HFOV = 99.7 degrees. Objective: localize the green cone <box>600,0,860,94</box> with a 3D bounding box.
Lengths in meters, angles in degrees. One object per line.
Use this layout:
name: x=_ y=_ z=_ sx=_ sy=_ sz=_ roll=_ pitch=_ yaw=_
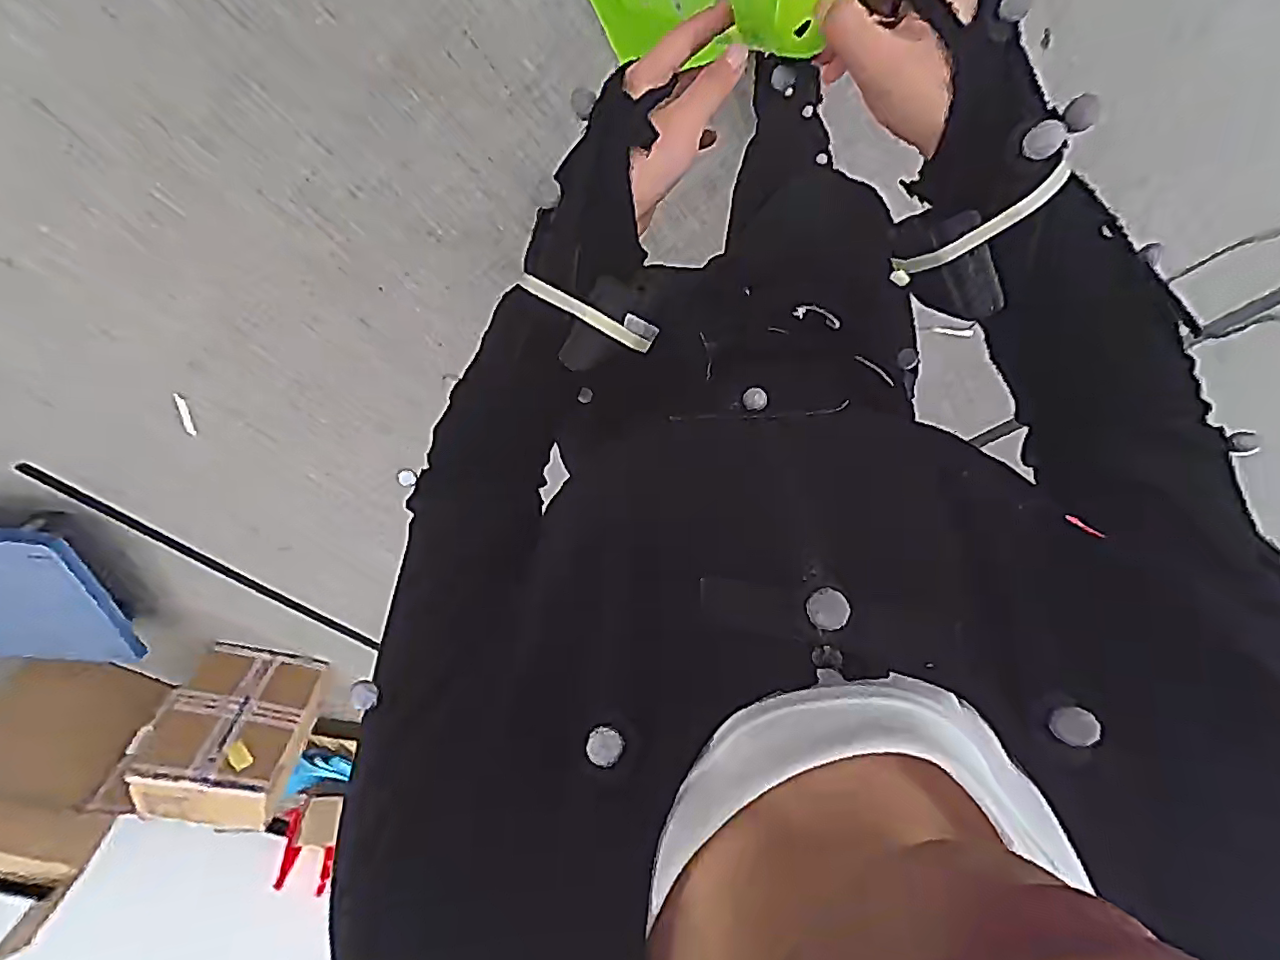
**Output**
green cone: x=0.068 y=-0.365 z=0.368 sx=0.202 sy=0.368 sz=0.200 roll=-26 pitch=137 yaw=19
